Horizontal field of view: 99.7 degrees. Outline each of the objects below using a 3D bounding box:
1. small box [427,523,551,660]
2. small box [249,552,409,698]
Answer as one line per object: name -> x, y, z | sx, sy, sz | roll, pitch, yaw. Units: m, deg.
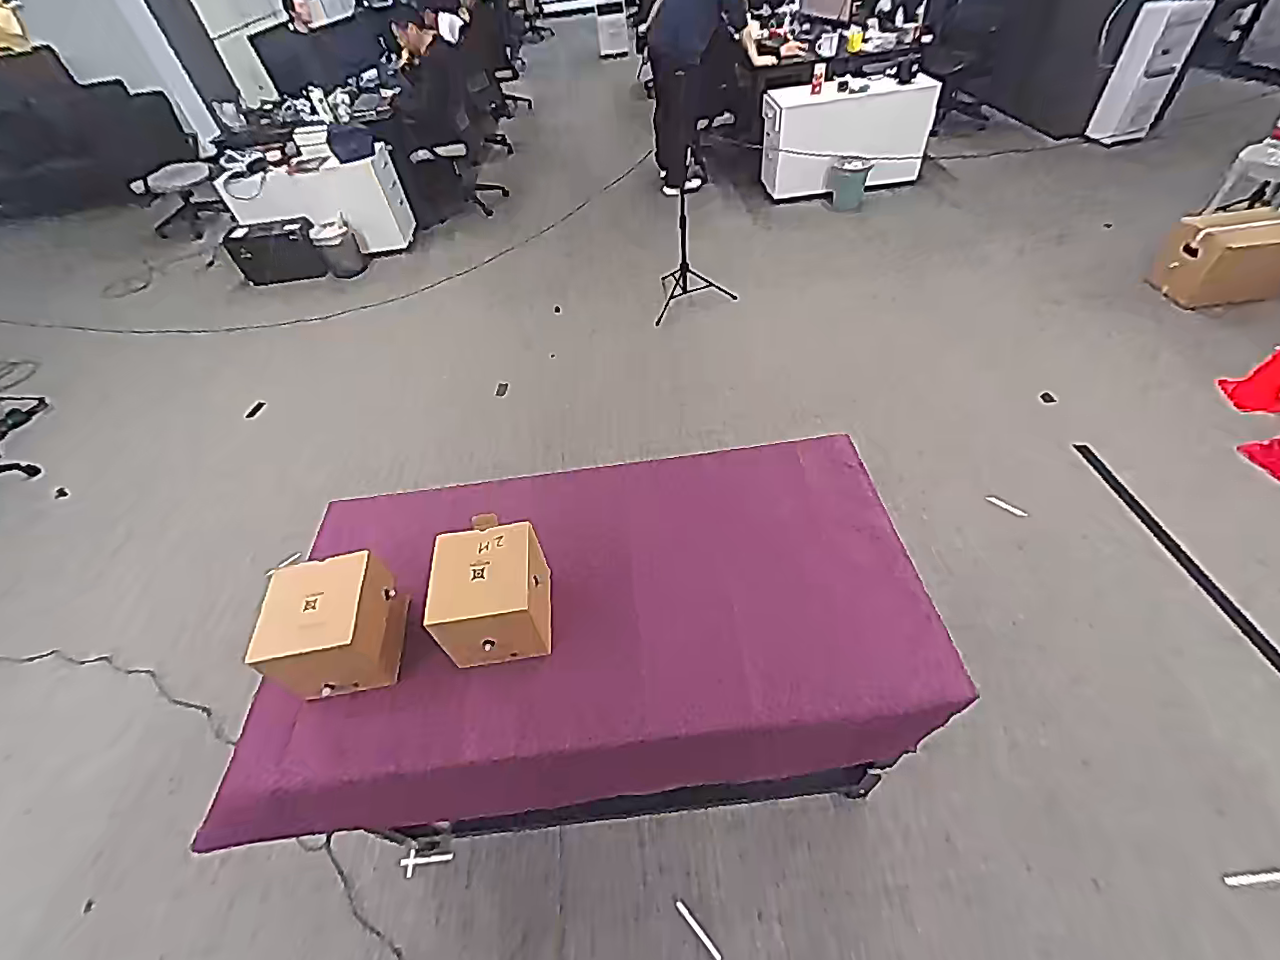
small box -> -0.254, 0.204, 0.956 | 0.168, 0.176, 0.179 | -8, 47, -1
small box -> -0.524, 0.254, 0.944 | 0.168, 0.176, 0.179 | -10, 47, -2
